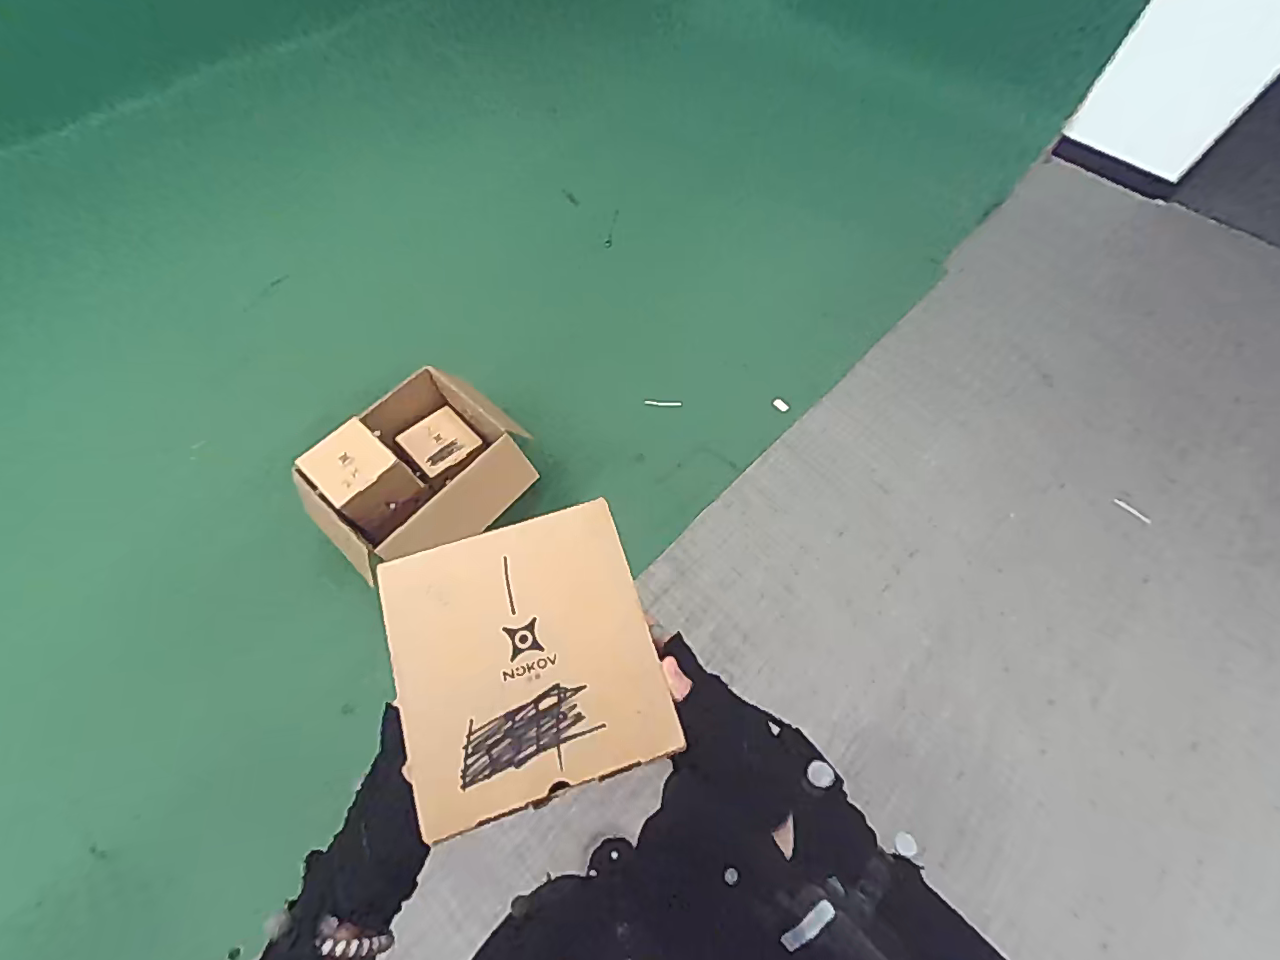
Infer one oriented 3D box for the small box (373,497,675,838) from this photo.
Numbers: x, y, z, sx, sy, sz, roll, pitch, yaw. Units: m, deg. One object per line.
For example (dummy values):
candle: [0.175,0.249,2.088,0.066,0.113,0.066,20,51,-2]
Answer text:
small box: [-0.082,0.138,0.429,0.168,0.176,0.179,-17,72,-9]
